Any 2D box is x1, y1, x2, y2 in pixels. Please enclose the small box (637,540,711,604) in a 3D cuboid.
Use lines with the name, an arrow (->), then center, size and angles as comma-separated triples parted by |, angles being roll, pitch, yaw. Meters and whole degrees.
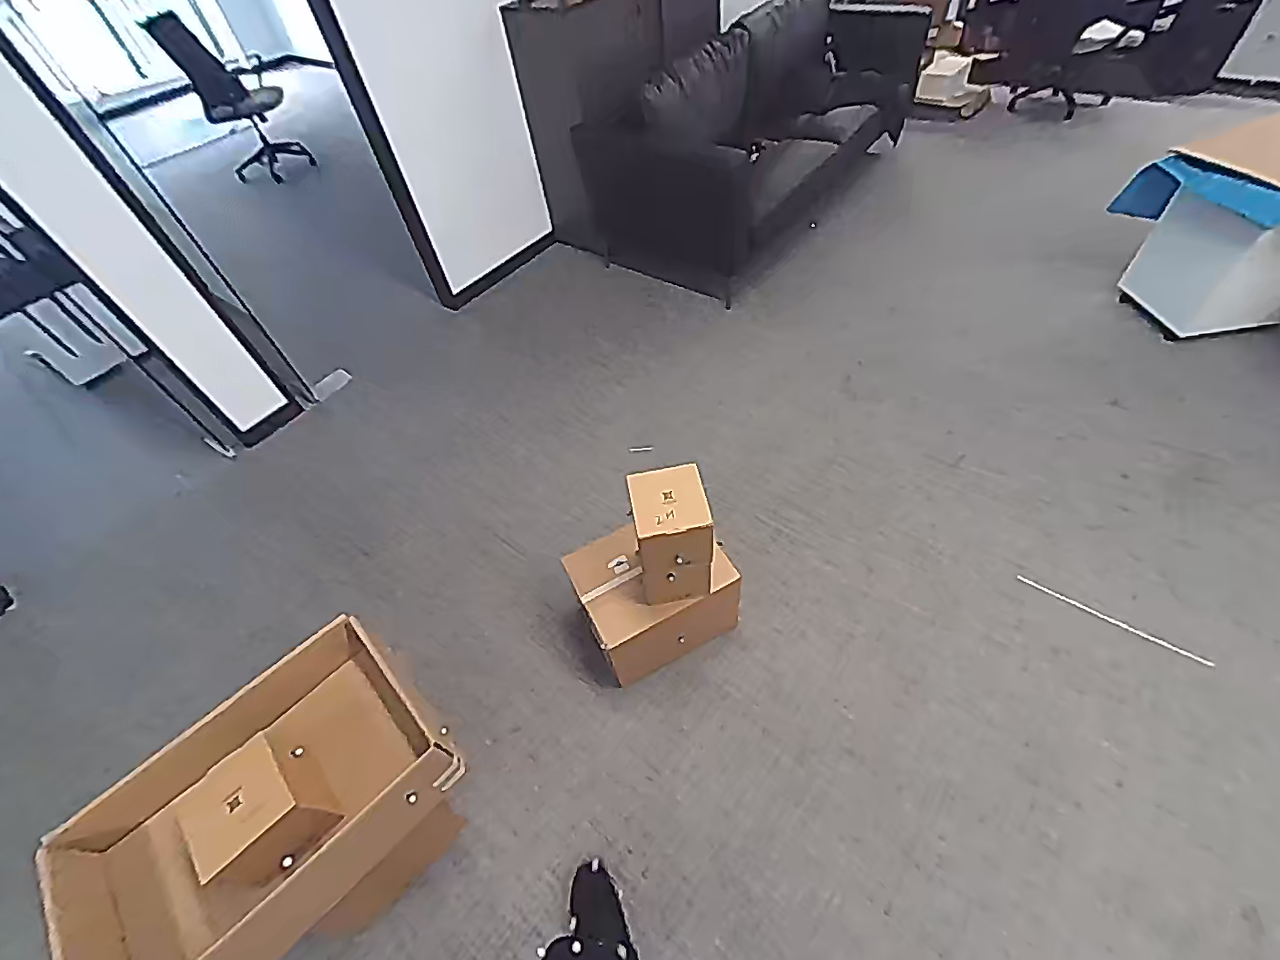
small box -> 0.082, 0.193, 1.381 | 0.168, 0.176, 0.179 | -10, 51, -1

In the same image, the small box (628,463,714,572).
small box -> 0.070, 0.089, 1.252 | 0.168, 0.176, 0.179 | -11, 52, -1

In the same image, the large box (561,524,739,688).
large box -> 0.037, 0.336, 1.588 | 0.408, 0.320, 0.320 | -26, 52, -13
